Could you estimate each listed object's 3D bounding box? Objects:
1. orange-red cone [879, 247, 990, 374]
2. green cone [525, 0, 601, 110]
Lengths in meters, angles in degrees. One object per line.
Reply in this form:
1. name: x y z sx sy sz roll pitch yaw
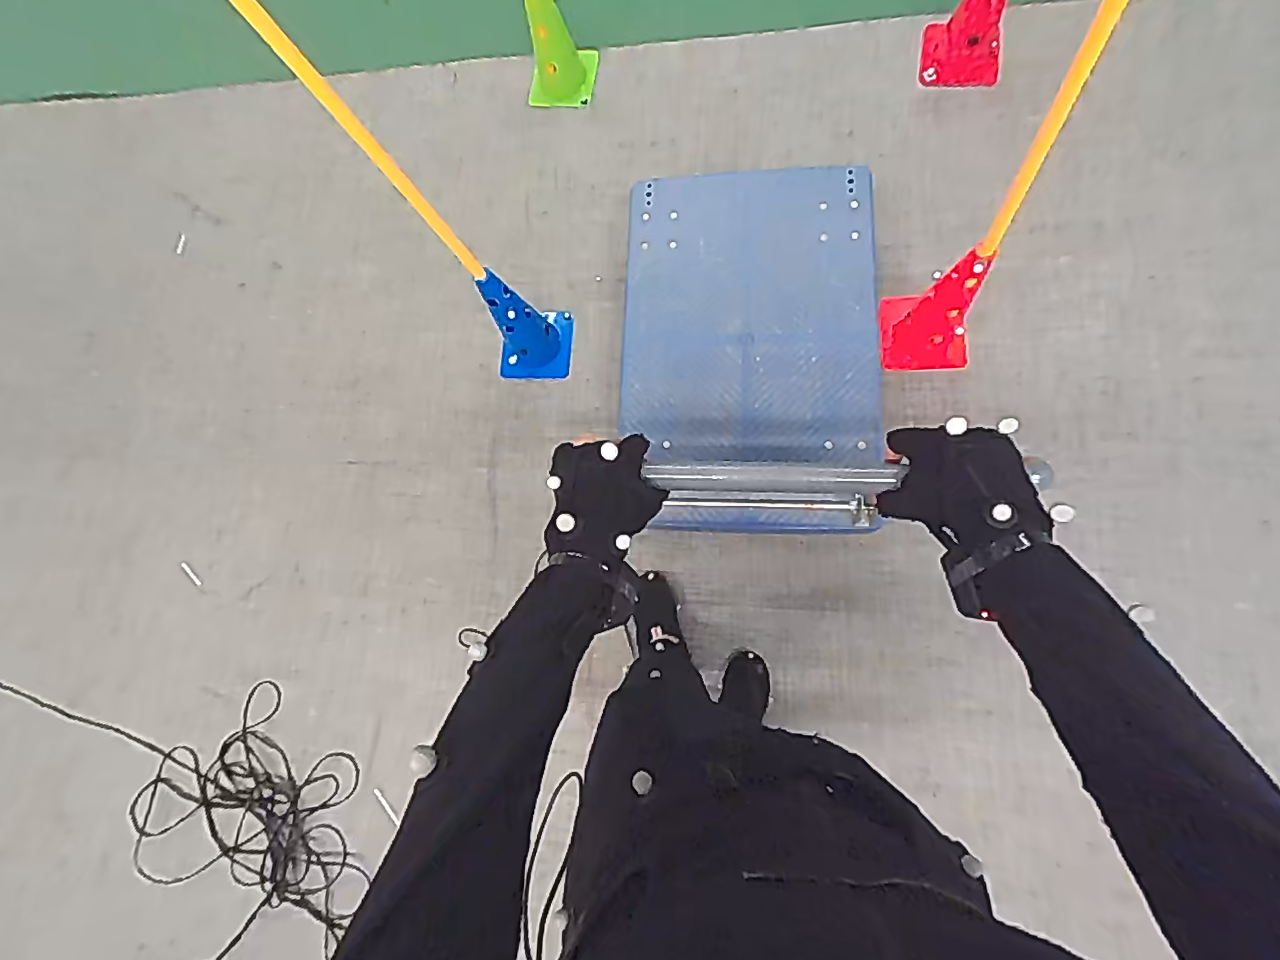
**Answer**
1. orange-red cone: 0.680 -0.395 1.203 0.199 0.360 0.198 1 79 11
2. green cone: -0.257 -1.272 1.511 0.202 0.368 0.200 7 80 11
